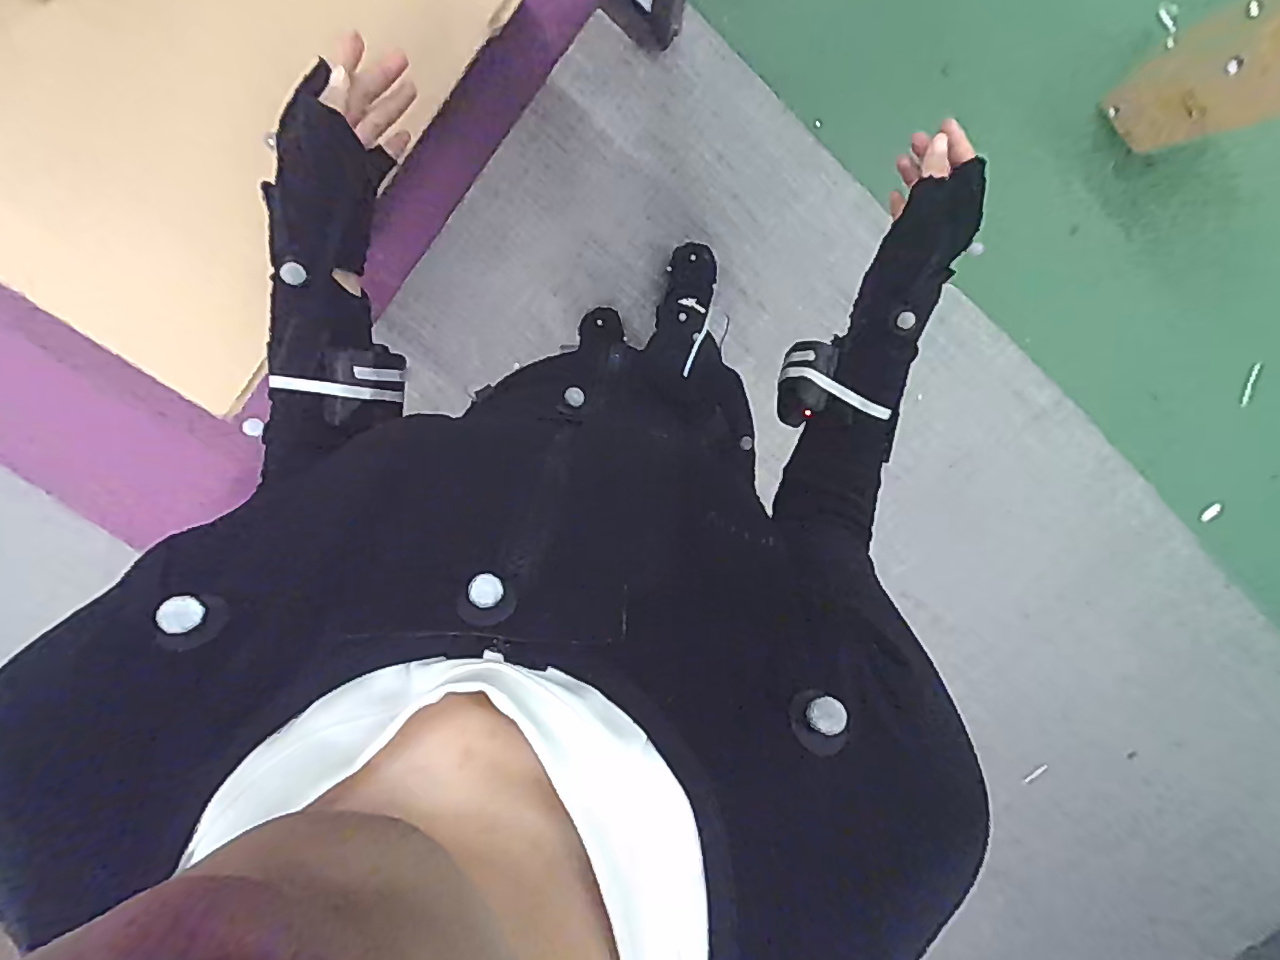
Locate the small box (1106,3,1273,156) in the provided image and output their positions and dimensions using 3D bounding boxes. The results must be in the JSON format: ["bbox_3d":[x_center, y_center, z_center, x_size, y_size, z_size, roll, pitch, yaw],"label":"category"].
[{"bbox_3d":[1.159,-0.837,1.156,0.168,0.176,0.179,40,103,-13],"label":"small box"}]
